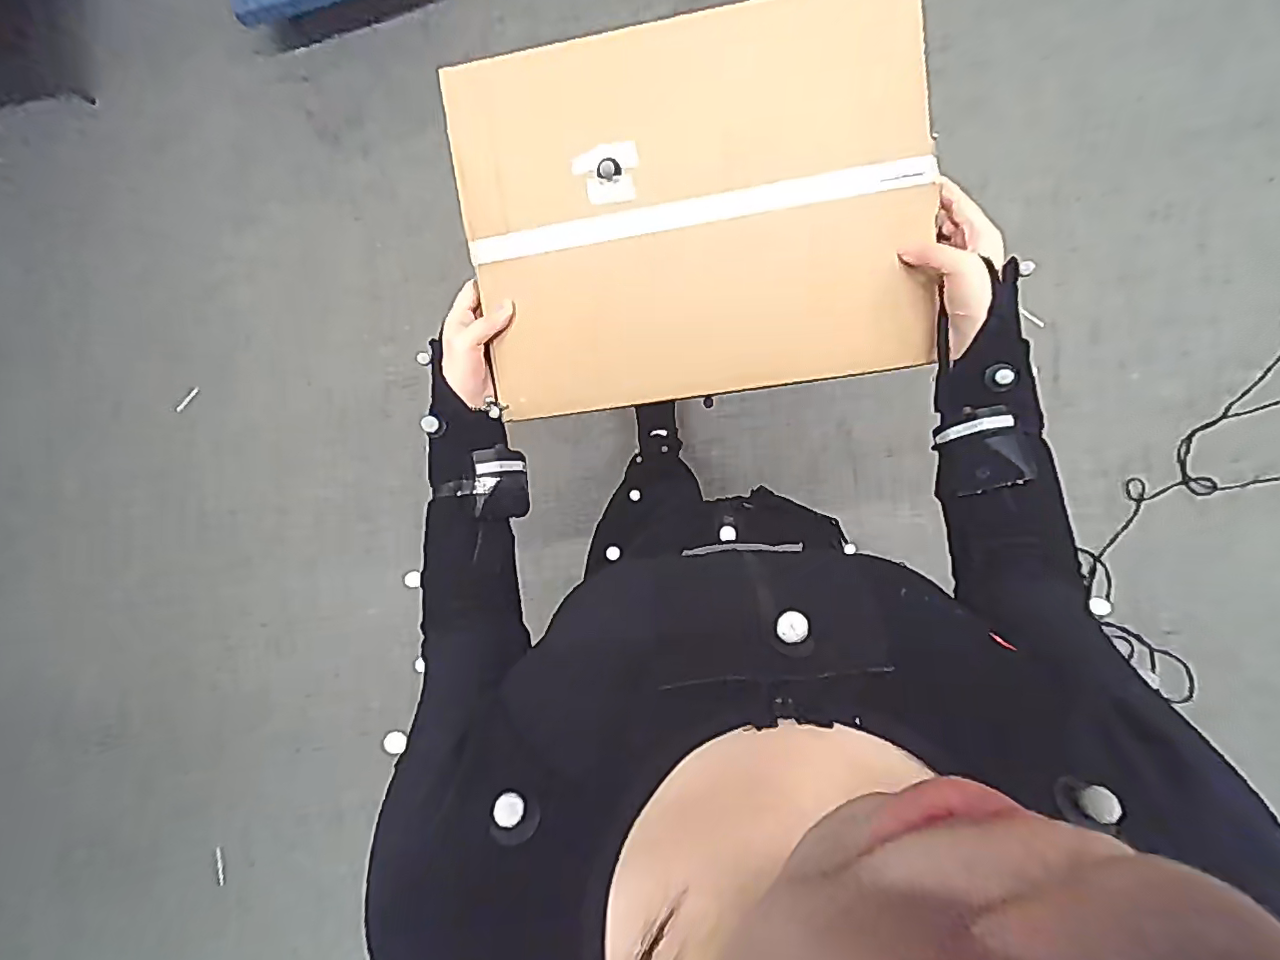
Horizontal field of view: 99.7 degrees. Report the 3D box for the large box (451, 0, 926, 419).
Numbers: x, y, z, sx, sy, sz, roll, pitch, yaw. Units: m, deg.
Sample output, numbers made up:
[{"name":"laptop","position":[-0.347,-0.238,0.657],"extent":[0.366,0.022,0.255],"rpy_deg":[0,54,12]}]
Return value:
[{"name":"large box","position":[0.060,-0.264,0.637],"extent":[0.408,0.320,0.320],"rpy_deg":[-7,98,8]}]
